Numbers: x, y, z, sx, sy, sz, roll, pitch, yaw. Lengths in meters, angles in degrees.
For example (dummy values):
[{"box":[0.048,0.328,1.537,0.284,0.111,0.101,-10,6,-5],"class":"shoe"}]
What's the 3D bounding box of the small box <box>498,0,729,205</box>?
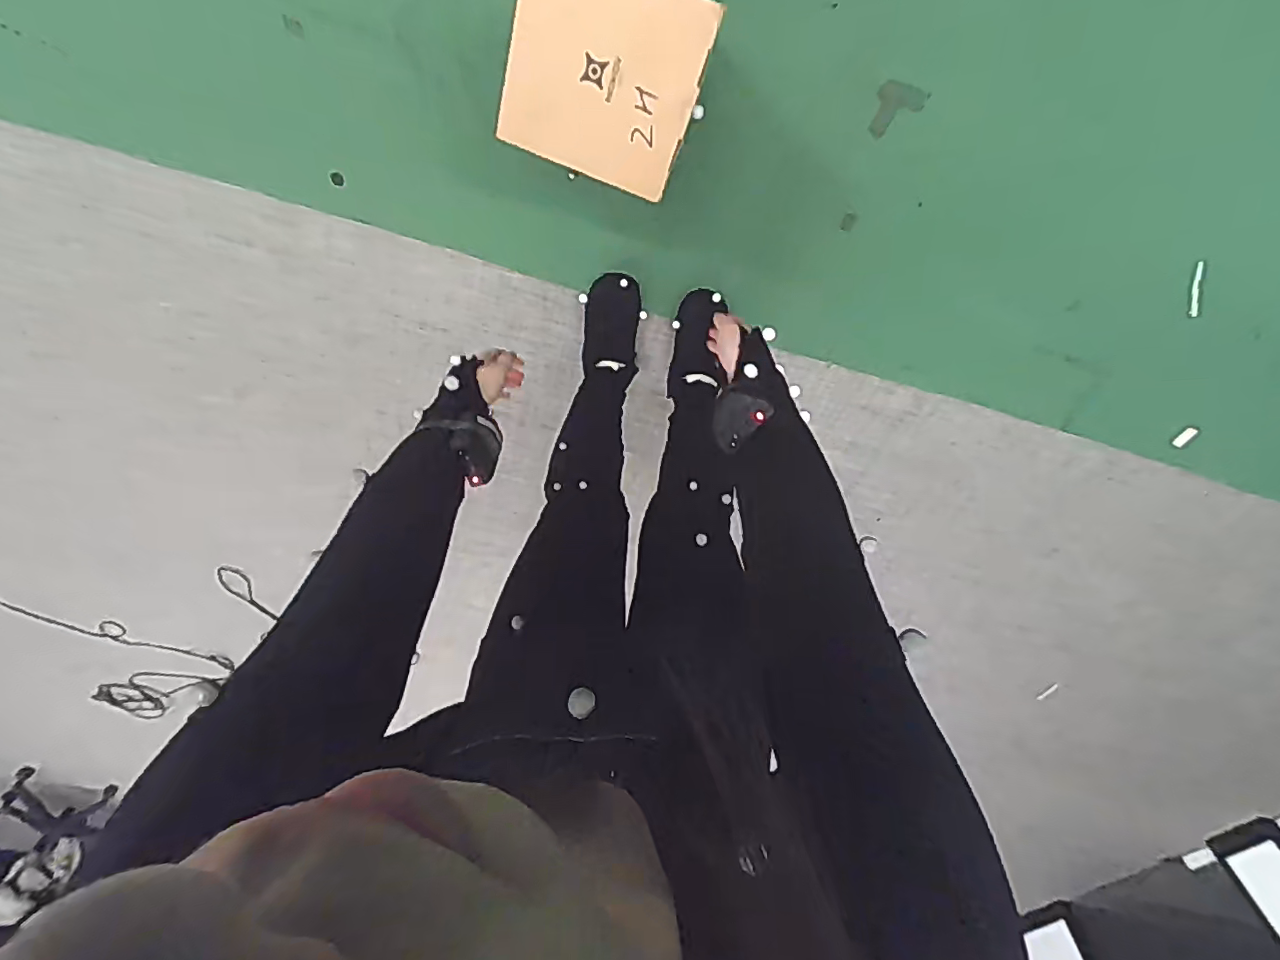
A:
[{"box":[-0.026,-0.414,0.558,0.179,0.176,0.168,18,127,-9],"class":"small box"}]
